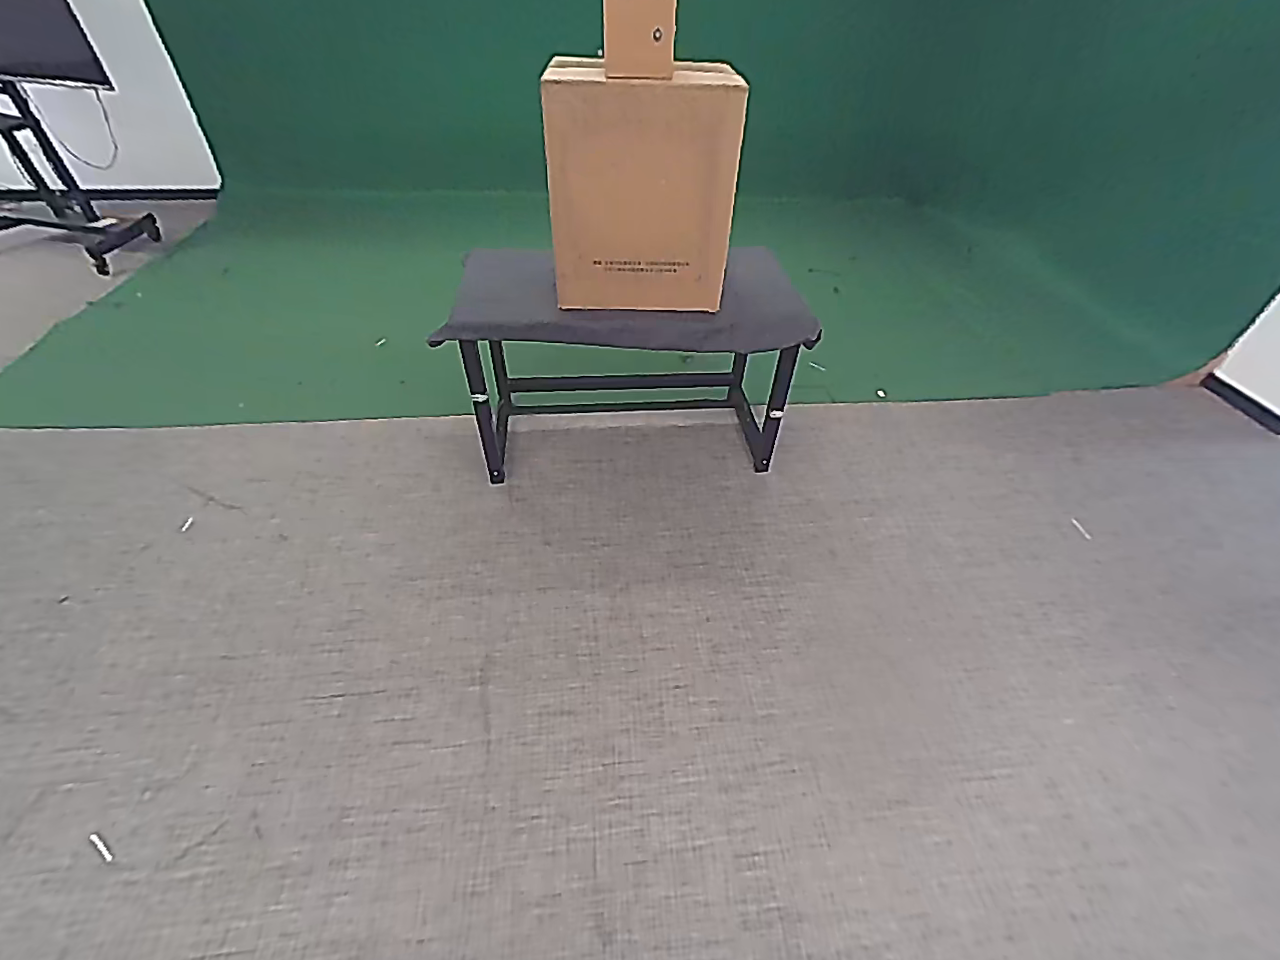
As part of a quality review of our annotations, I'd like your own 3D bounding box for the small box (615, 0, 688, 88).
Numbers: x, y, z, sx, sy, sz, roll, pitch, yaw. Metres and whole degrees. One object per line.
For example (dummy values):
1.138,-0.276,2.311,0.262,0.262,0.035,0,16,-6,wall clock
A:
0.023,-1.132,1.400,0.179,0.176,0.168,-1,45,-2,small box
